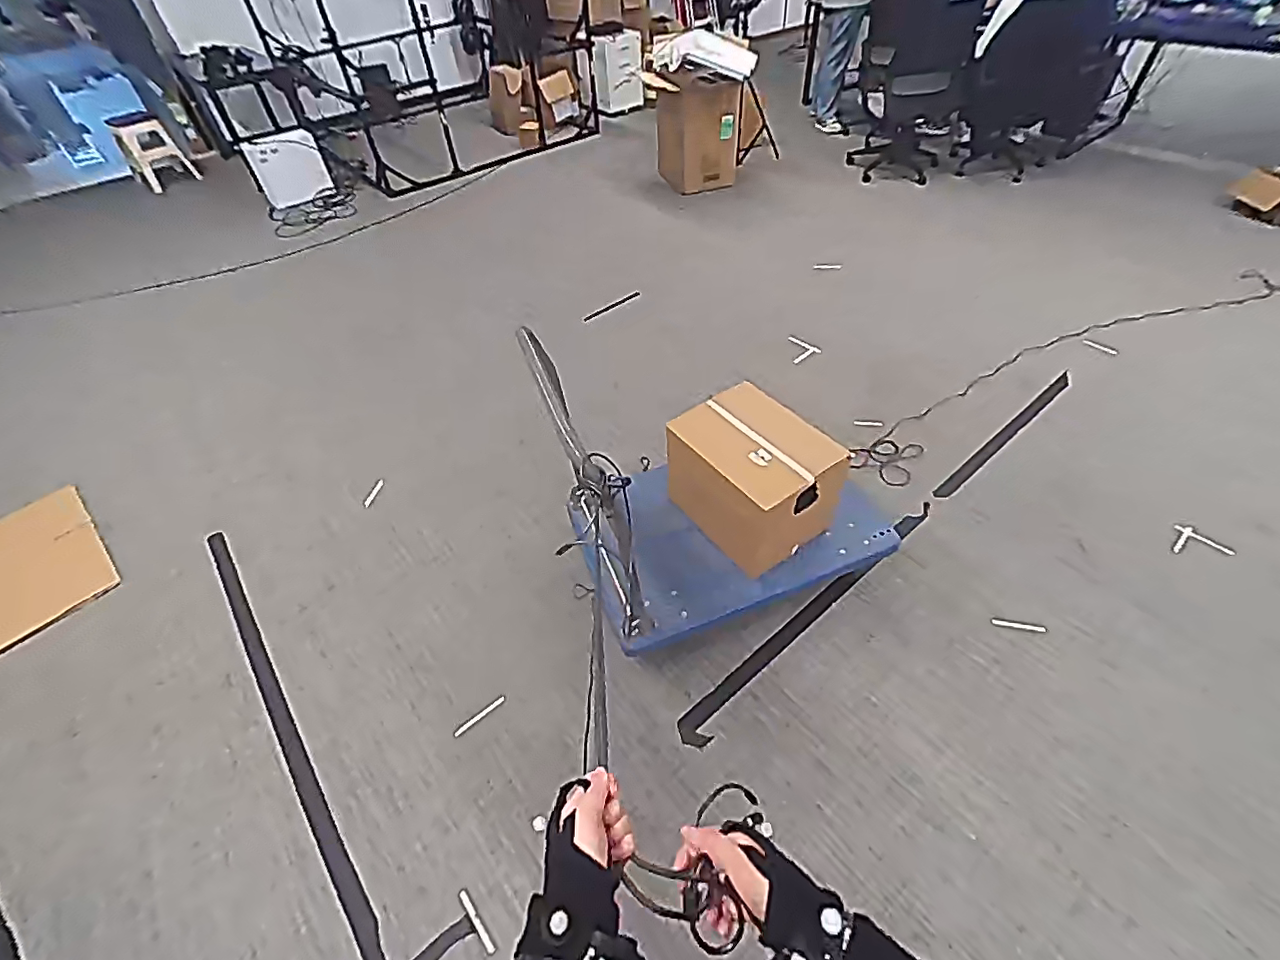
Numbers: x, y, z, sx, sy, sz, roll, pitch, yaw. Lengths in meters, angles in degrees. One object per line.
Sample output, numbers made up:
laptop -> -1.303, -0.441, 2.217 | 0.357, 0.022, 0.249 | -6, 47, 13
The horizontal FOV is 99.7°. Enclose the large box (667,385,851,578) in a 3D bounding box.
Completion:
large box -> 0.315, -0.004, 1.563 | 0.320, 0.320, 0.408 | -30, 53, -21
